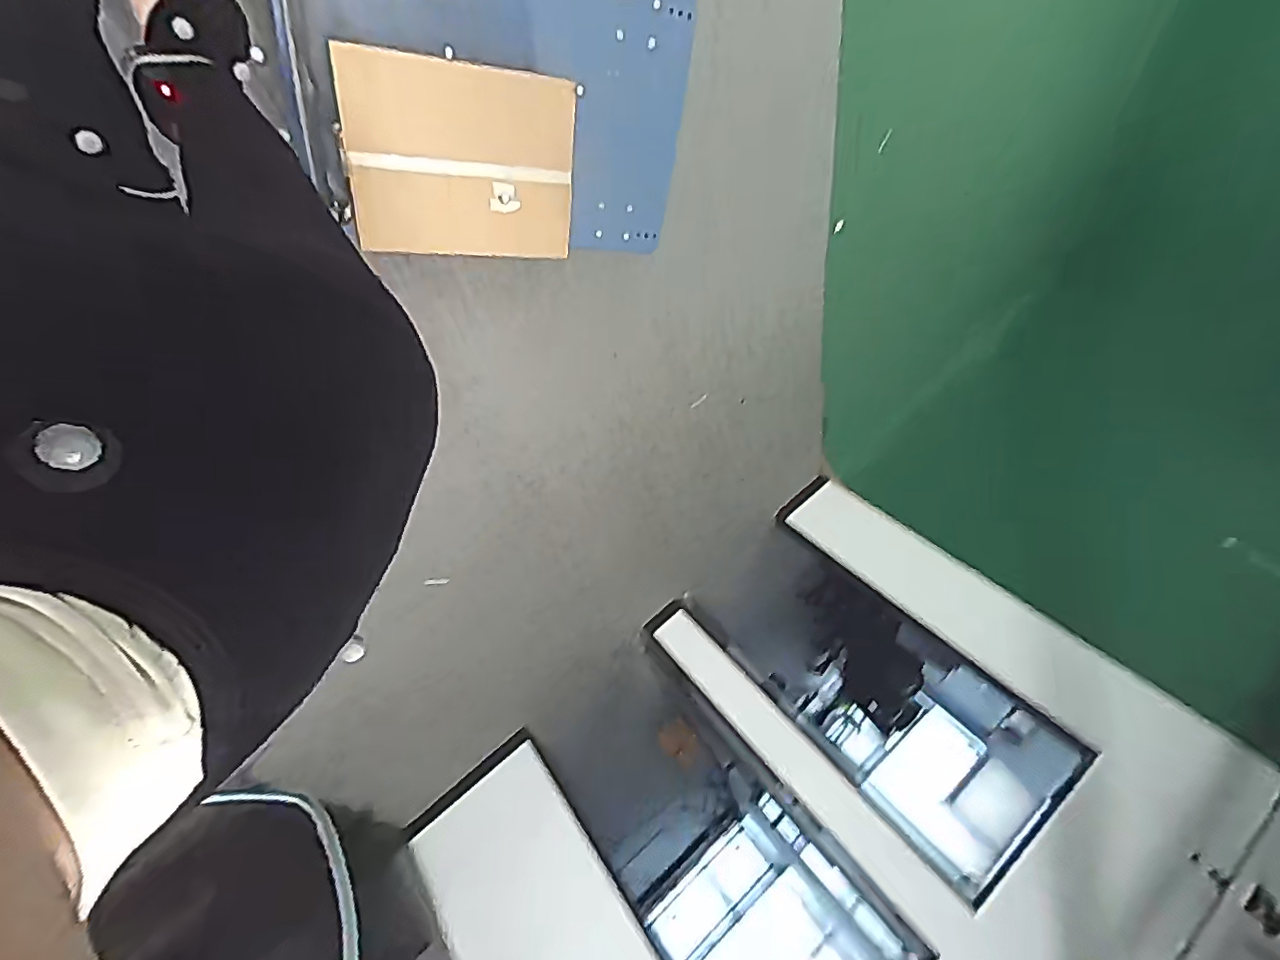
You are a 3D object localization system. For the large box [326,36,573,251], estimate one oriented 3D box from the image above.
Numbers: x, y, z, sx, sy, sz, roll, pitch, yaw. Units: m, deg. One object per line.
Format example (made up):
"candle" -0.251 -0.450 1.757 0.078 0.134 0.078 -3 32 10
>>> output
"large box" -0.382 -0.671 1.100 0.408 0.320 0.320 -8 129 -24
